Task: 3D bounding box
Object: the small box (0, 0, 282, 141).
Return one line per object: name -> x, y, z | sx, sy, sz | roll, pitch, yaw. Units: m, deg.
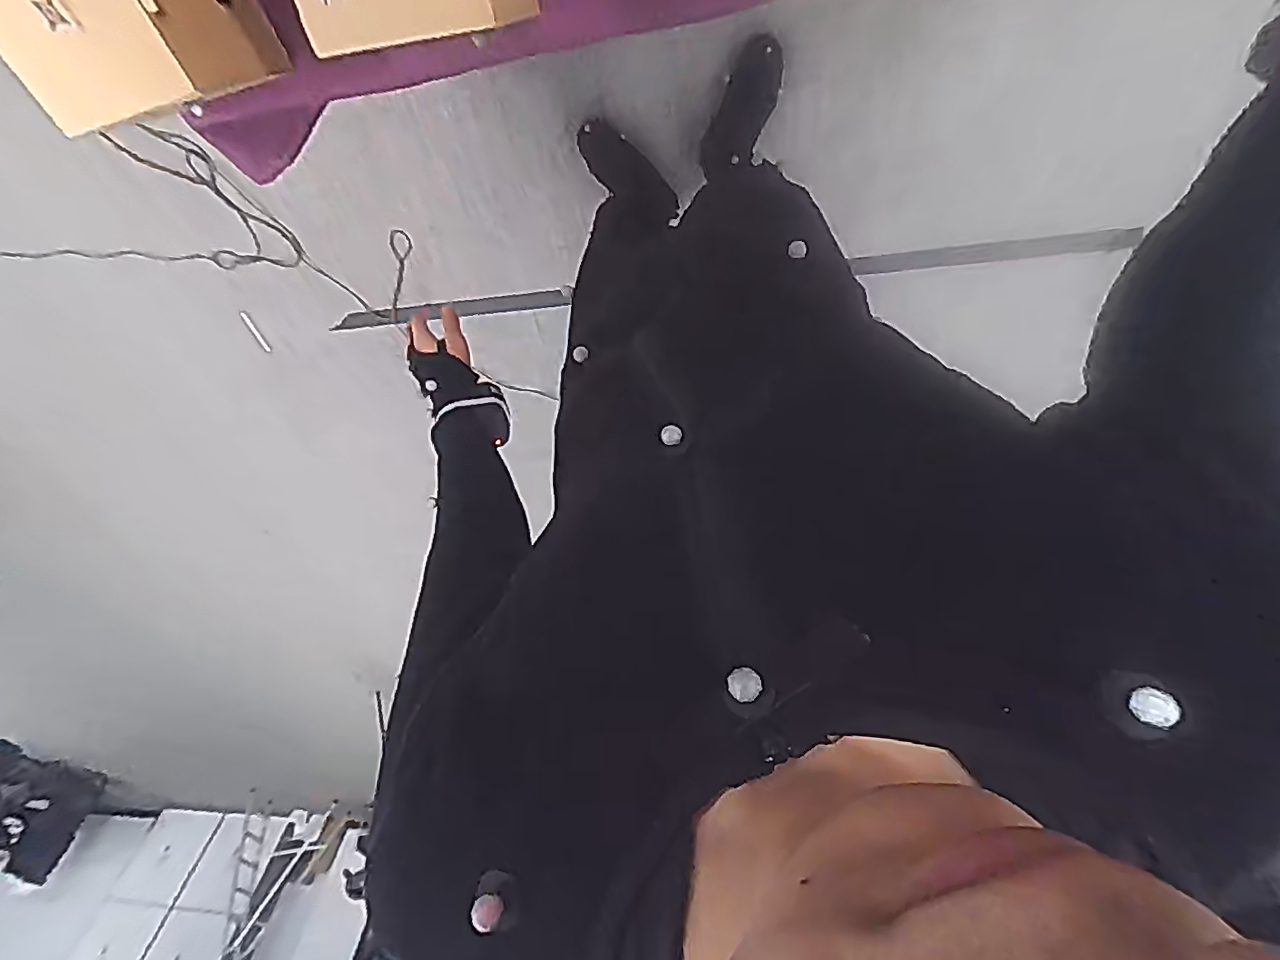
small box -> -0.521, -0.470, 0.546 | 0.179, 0.176, 0.168 | -8, 132, 13
